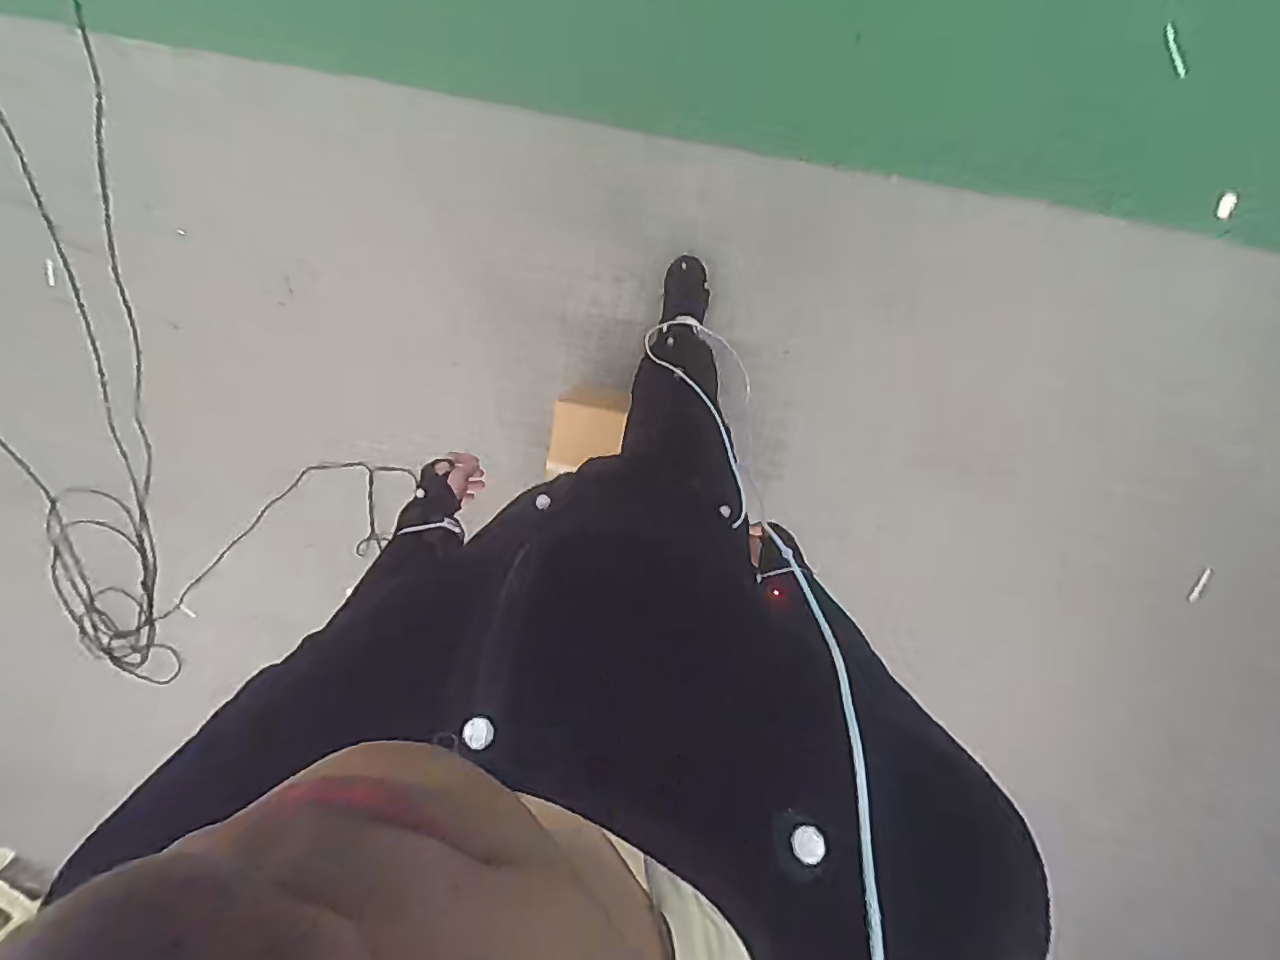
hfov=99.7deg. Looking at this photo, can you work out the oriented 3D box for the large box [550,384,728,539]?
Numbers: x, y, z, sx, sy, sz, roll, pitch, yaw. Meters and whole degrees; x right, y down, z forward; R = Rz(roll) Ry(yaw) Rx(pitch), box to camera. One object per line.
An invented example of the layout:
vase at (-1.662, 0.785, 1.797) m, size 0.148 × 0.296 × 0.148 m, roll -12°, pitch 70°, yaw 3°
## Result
large box at (-0.004, -0.066, 1.449) m, size 0.408 × 0.320 × 0.320 m, roll 9°, pitch 108°, yaw 0°
